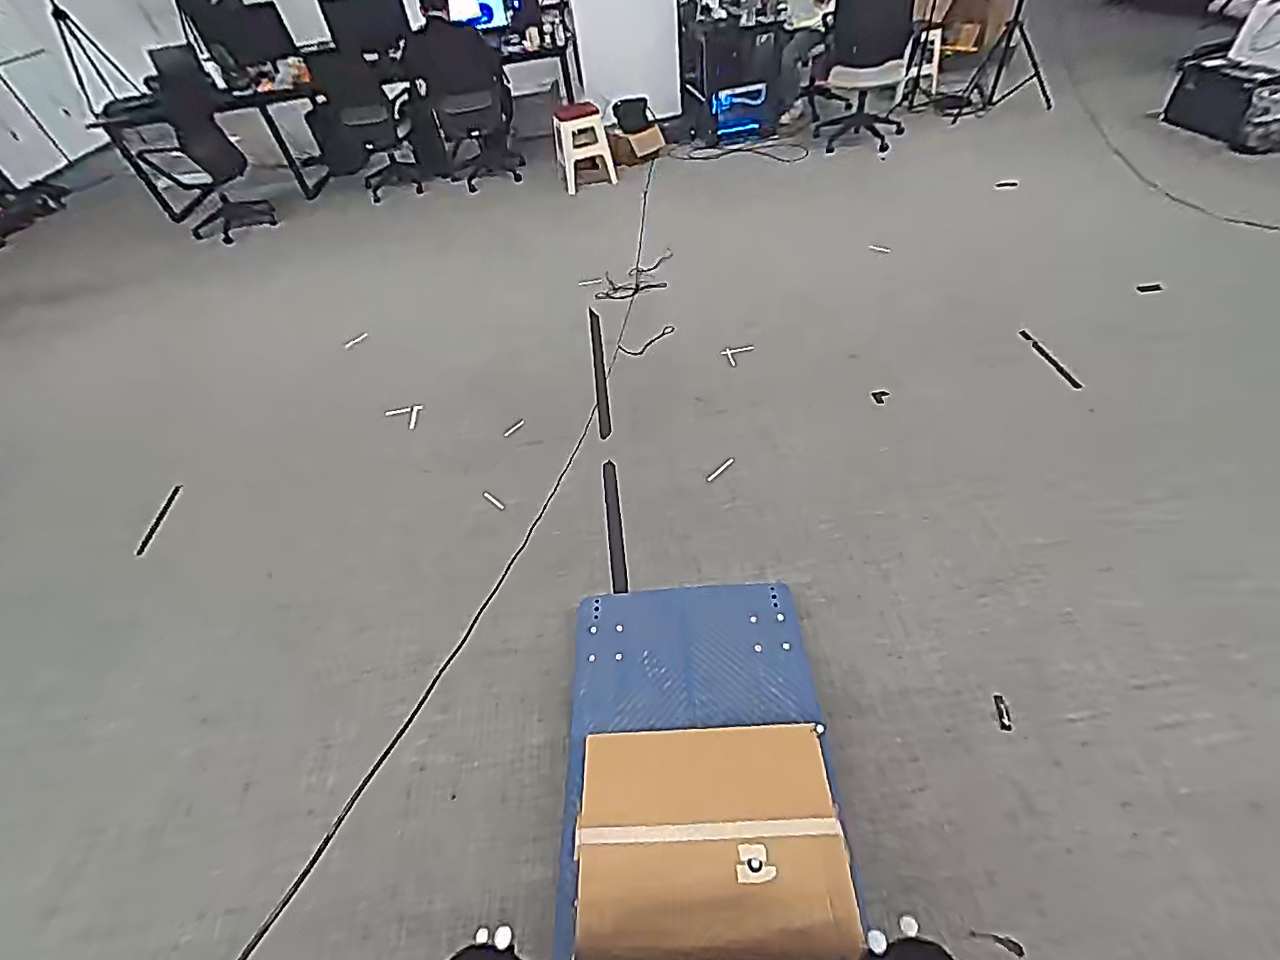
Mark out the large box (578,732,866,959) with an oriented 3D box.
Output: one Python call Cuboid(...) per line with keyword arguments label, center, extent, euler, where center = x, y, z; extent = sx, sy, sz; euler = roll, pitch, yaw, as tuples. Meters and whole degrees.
Cuboid(label="large box", center=(0.119, 0.665, 0.943), extent=(0.408, 0.320, 0.320), euler=(-4, 46, 4))
